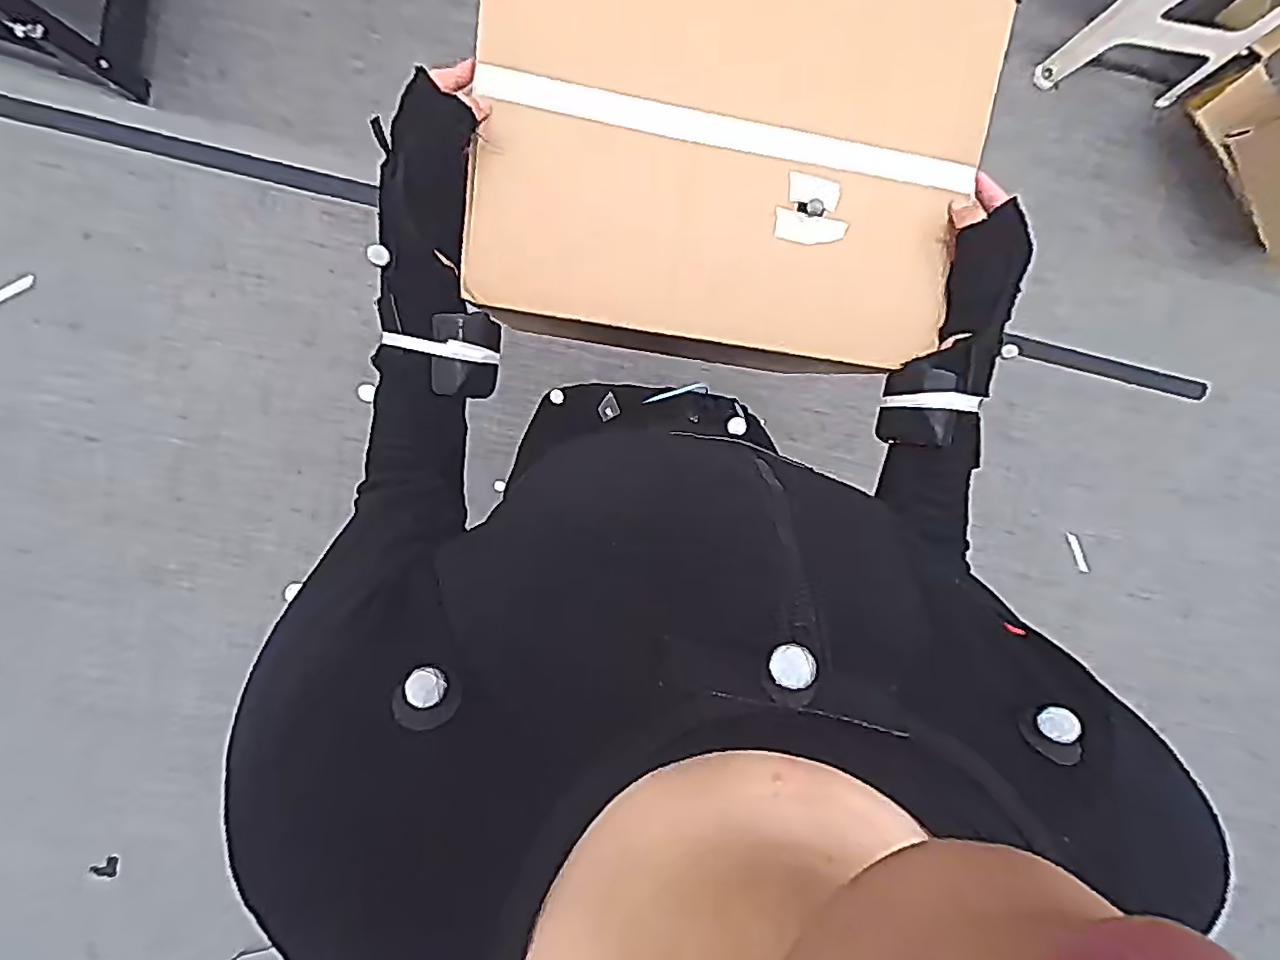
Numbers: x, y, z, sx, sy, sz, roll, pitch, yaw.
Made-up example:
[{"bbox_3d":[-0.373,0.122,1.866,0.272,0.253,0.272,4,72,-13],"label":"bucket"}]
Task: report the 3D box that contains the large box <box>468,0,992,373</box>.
[{"bbox_3d":[0.054,-0.295,0.581,0.408,0.320,0.320,7,101,-9],"label":"large box"}]
